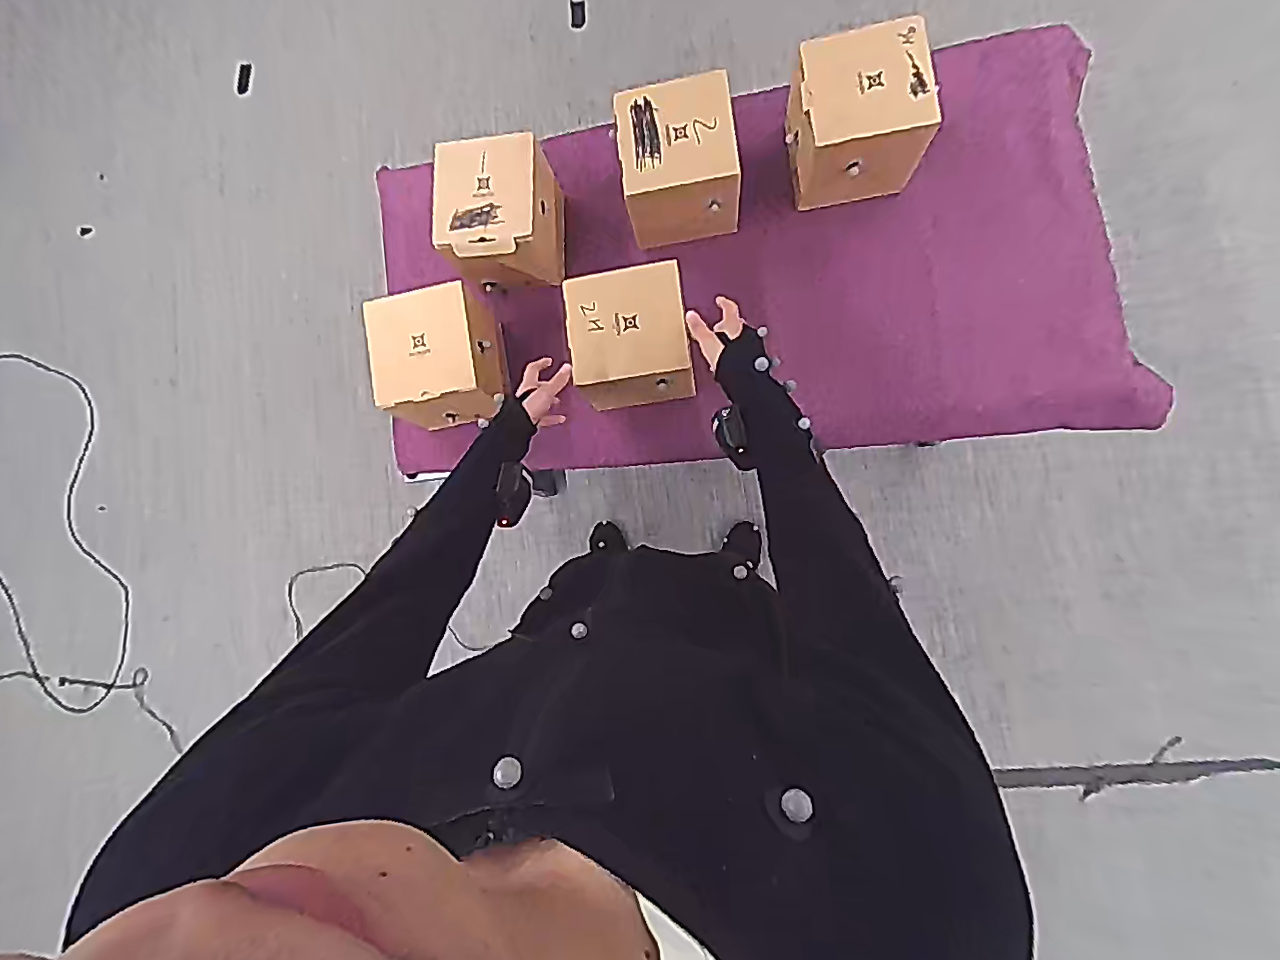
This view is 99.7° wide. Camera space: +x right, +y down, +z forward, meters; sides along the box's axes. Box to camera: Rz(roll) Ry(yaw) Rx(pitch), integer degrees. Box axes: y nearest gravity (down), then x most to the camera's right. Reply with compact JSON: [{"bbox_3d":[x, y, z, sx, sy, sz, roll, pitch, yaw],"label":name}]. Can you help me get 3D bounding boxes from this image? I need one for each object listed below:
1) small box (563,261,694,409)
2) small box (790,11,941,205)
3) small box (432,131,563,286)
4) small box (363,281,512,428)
[{"bbox_3d":[-0.009,-0.219,0.858,0.179,0.176,0.168,-8,84,8],"label":"small box"},{"bbox_3d":[0.333,-0.557,0.836,0.179,0.176,0.168,-7,86,9],"label":"small box"},{"bbox_3d":[-0.231,-0.442,0.912,0.168,0.176,0.179,-2,85,8],"label":"small box"},{"bbox_3d":[-0.328,-0.199,0.902,0.168,0.176,0.179,-11,84,5],"label":"small box"}]
